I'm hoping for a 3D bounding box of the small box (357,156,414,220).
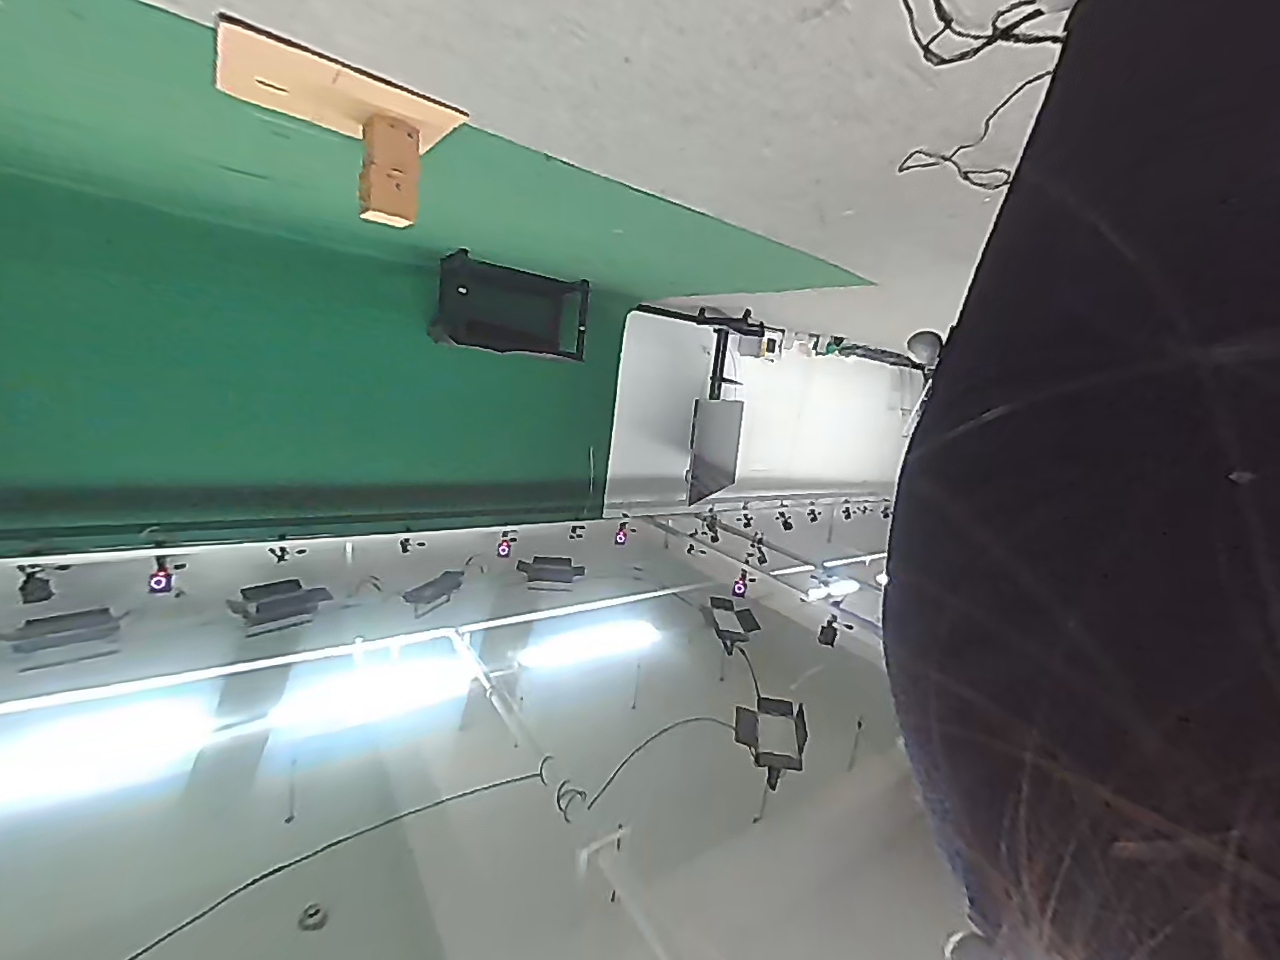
[{"bbox_3d":[-0.993,-1.135,2.110,0.168,0.176,0.179,-2,-165,-41],"label":"small box"}]

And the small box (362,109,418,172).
[{"bbox_3d":[-0.961,-1.290,2.072,0.168,0.176,0.179,-3,-164,-39],"label":"small box"}]
